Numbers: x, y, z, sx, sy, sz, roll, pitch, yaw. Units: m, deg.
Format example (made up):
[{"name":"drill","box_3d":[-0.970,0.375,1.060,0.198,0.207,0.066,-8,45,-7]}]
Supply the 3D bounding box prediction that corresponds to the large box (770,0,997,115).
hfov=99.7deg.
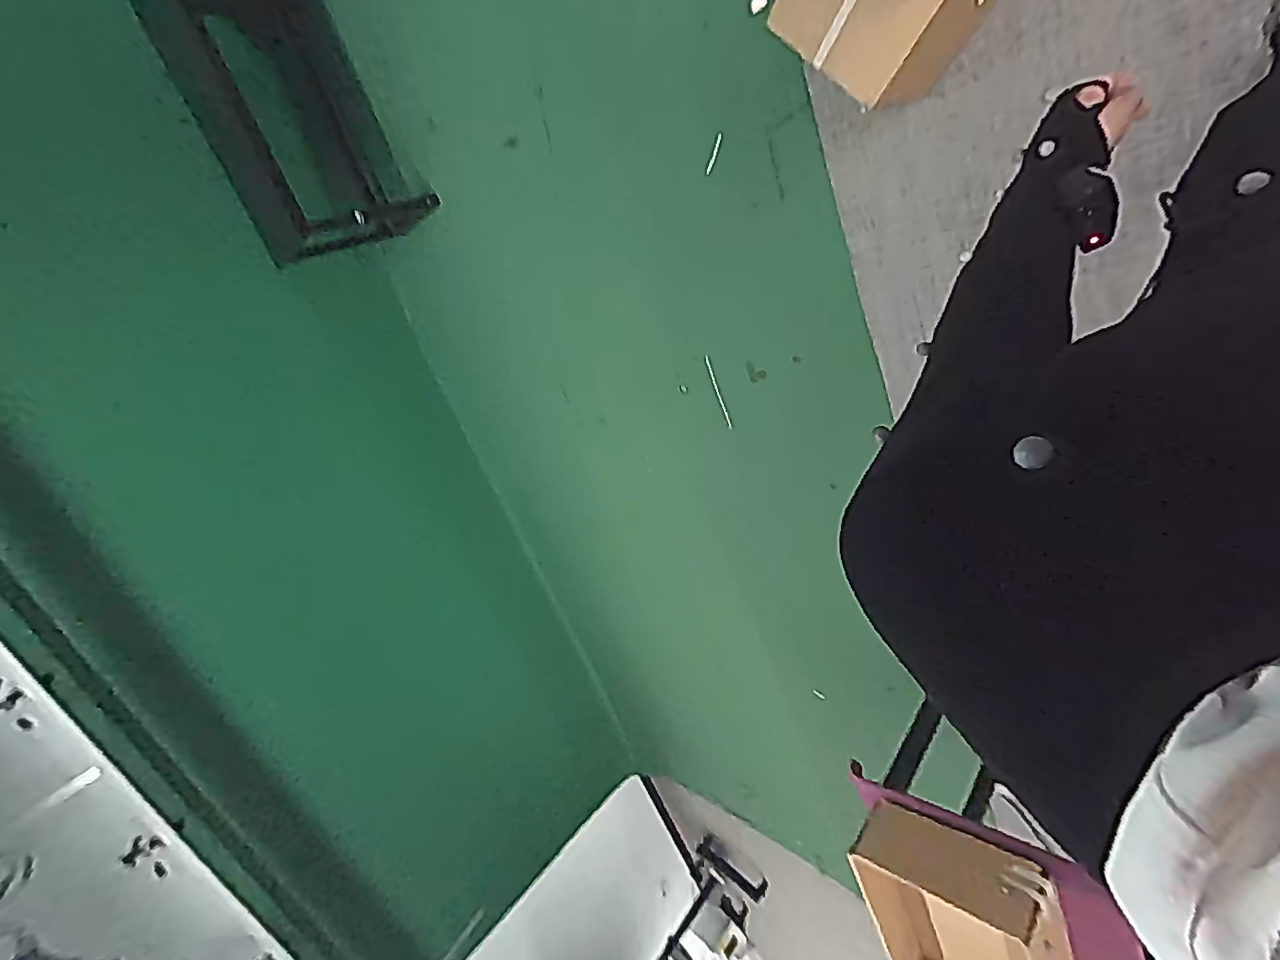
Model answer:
[{"name":"large box","box_3d":[0.544,-1.034,1.069,0.320,0.320,0.408,49,145,11]}]
